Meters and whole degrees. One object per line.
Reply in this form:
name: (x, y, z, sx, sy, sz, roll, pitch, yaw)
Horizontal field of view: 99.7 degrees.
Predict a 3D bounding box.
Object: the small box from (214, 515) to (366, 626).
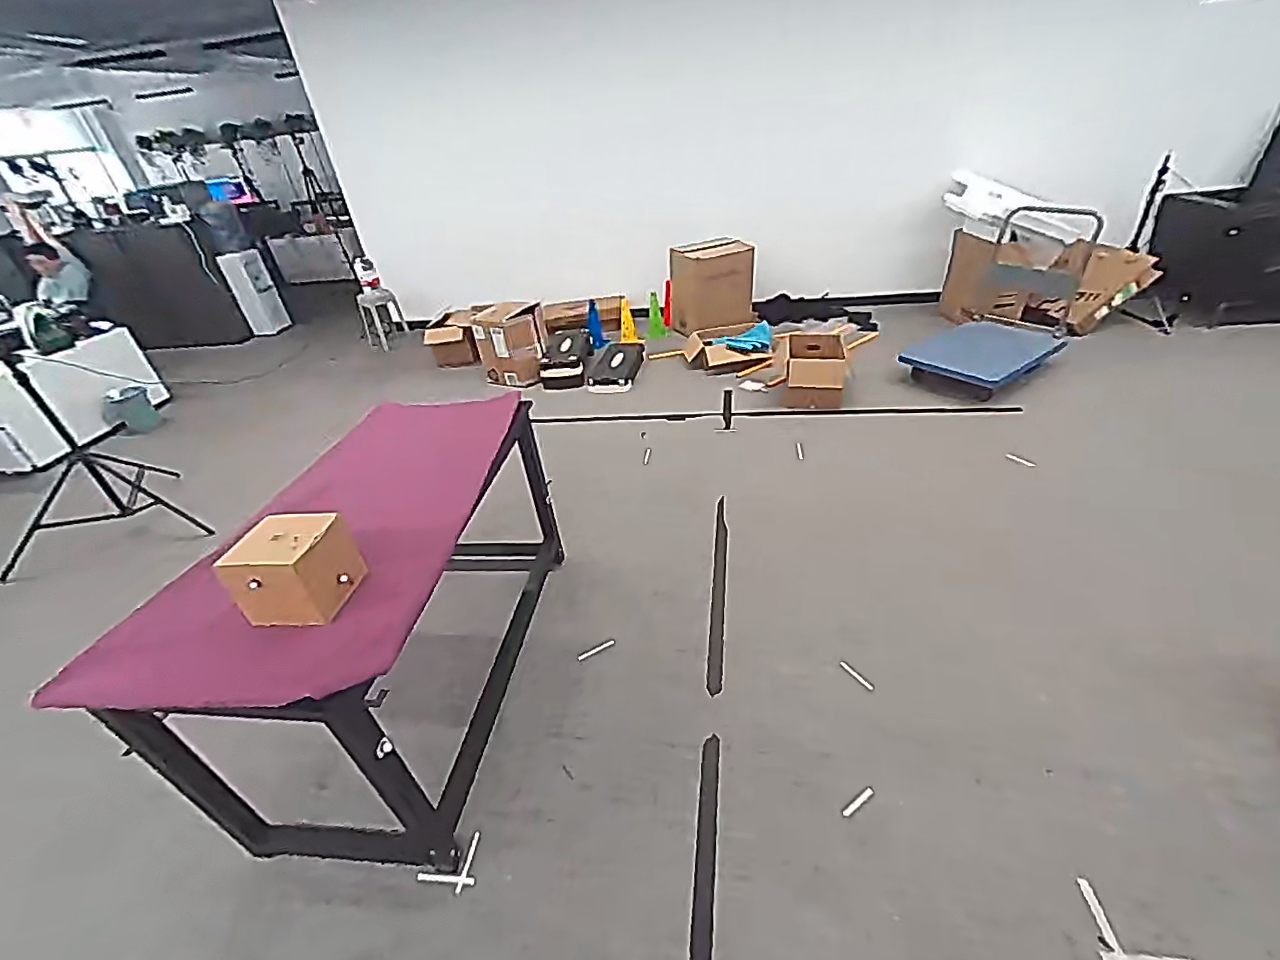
small box: (-0.719, 0.189, 1.134, 0.179, 0.176, 0.168, -2, 33, 7)
